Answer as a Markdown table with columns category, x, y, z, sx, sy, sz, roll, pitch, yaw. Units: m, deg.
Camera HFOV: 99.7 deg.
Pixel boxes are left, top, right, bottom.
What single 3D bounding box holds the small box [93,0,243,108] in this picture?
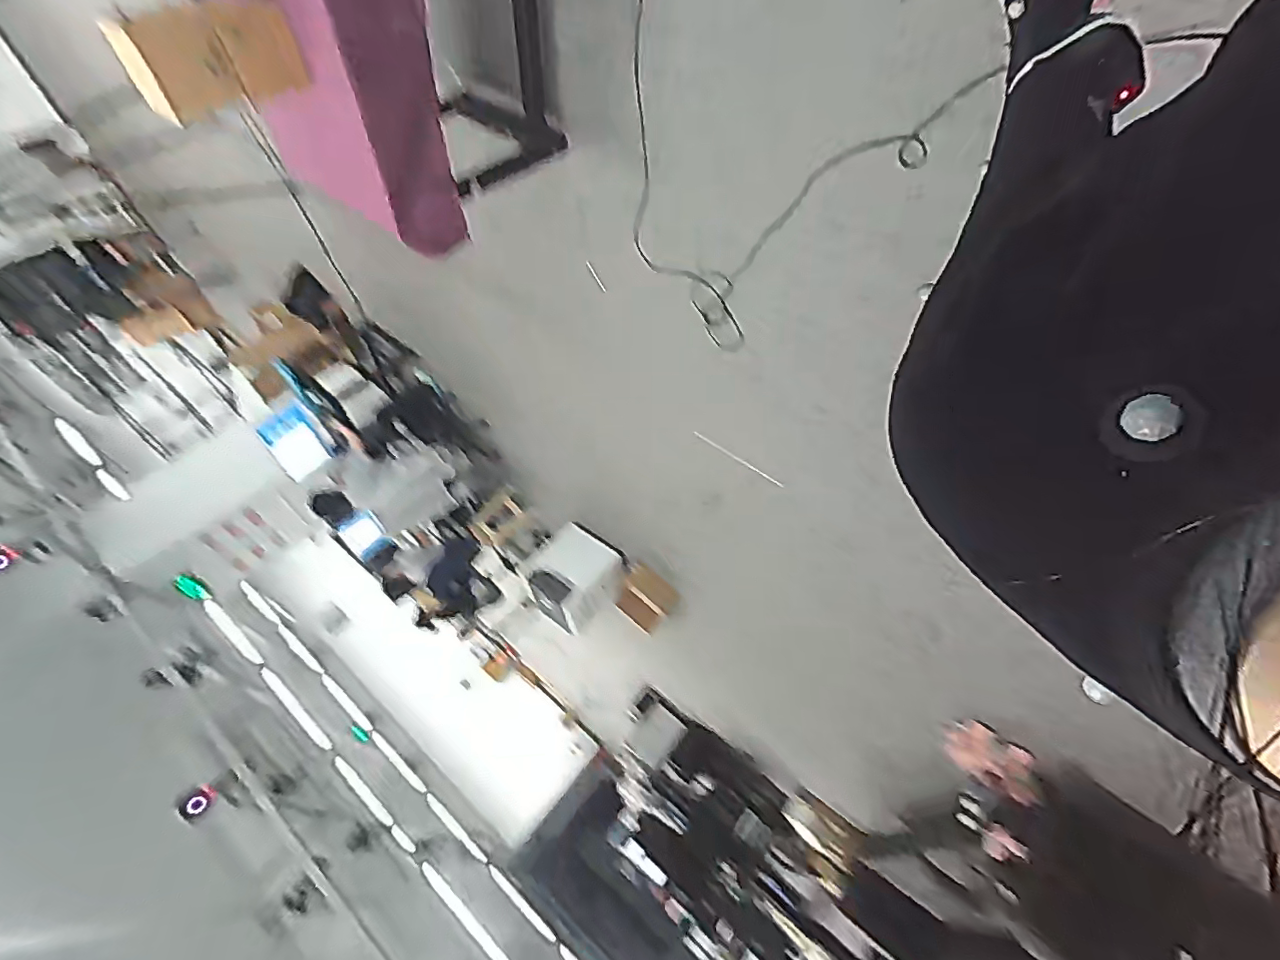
| category | x | y | z | sx | sy | sz | roll | pitch | yaw |
| --- | --- | --- | --- | --- | --- | --- | --- | --- | --- |
| small box | -1.055 | -0.980 | 1.224 | 0.179 | 0.176 | 0.168 | 35 | 150 | 21 |

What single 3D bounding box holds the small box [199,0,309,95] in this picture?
| category | x | y | z | sx | sy | sz | roll | pitch | yaw |
| --- | --- | --- | --- | --- | --- | --- | --- | --- | --- |
| small box | -0.947 | -1.074 | 1.306 | 0.168 | 0.176 | 0.179 | 35 | 149 | 21 |
